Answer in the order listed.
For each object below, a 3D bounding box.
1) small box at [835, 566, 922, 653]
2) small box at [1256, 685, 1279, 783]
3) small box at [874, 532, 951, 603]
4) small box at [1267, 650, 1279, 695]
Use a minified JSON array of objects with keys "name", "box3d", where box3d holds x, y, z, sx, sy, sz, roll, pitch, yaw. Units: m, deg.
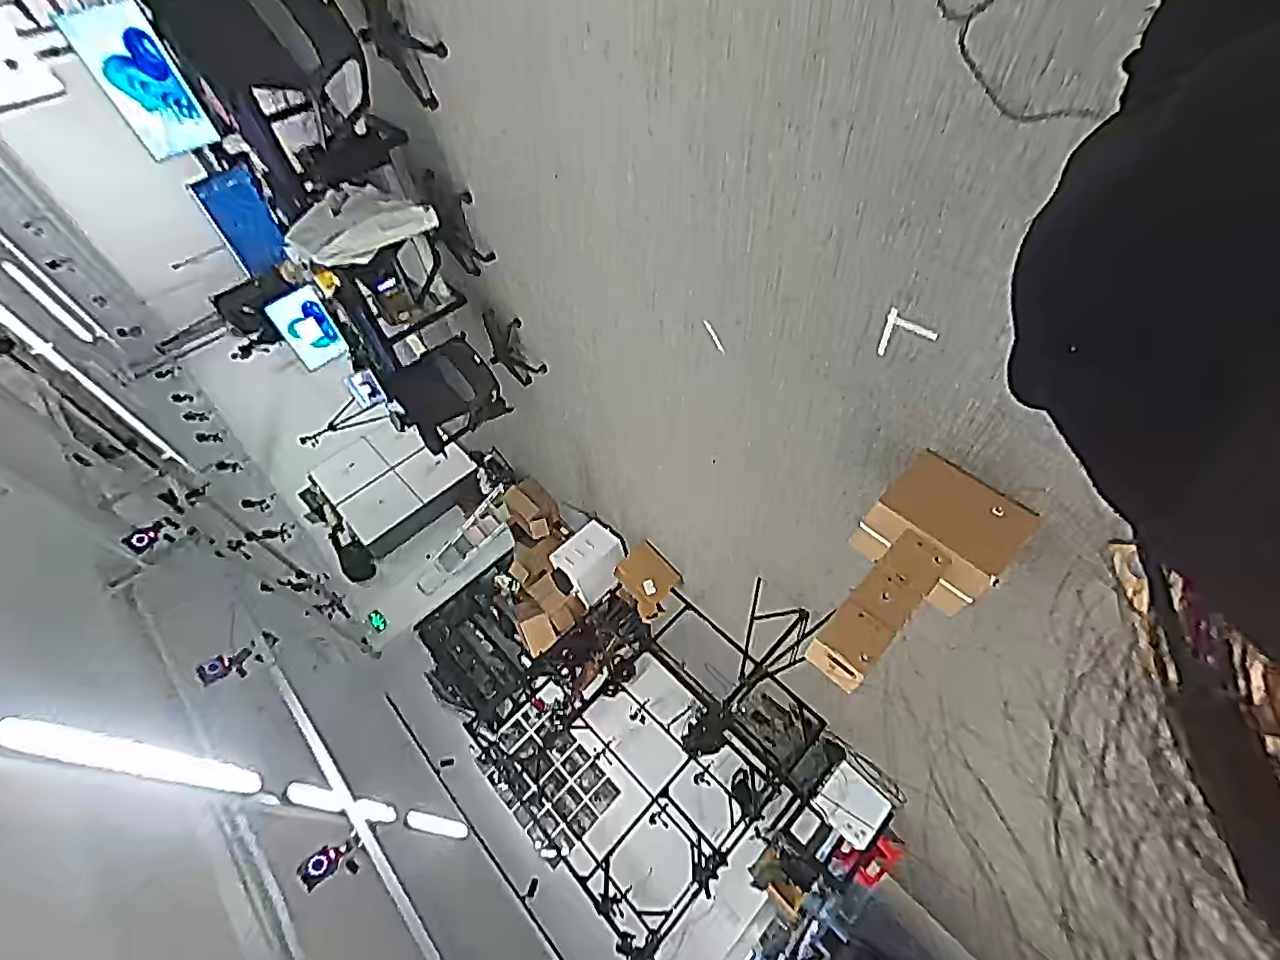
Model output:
[{"name":"small box","box3d":[0.744,0.398,1.683,0.168,0.176,0.179,40,155,25]},{"name":"small box","box3d":[1.566,0.604,1.234,0.179,0.176,0.168,56,159,-15]},{"name":"small box","box3d":[0.861,0.296,1.736,0.168,0.176,0.179,41,157,22]},{"name":"small box","box3d":[1.681,0.509,1.306,0.179,0.176,0.168,57,157,-14]}]
